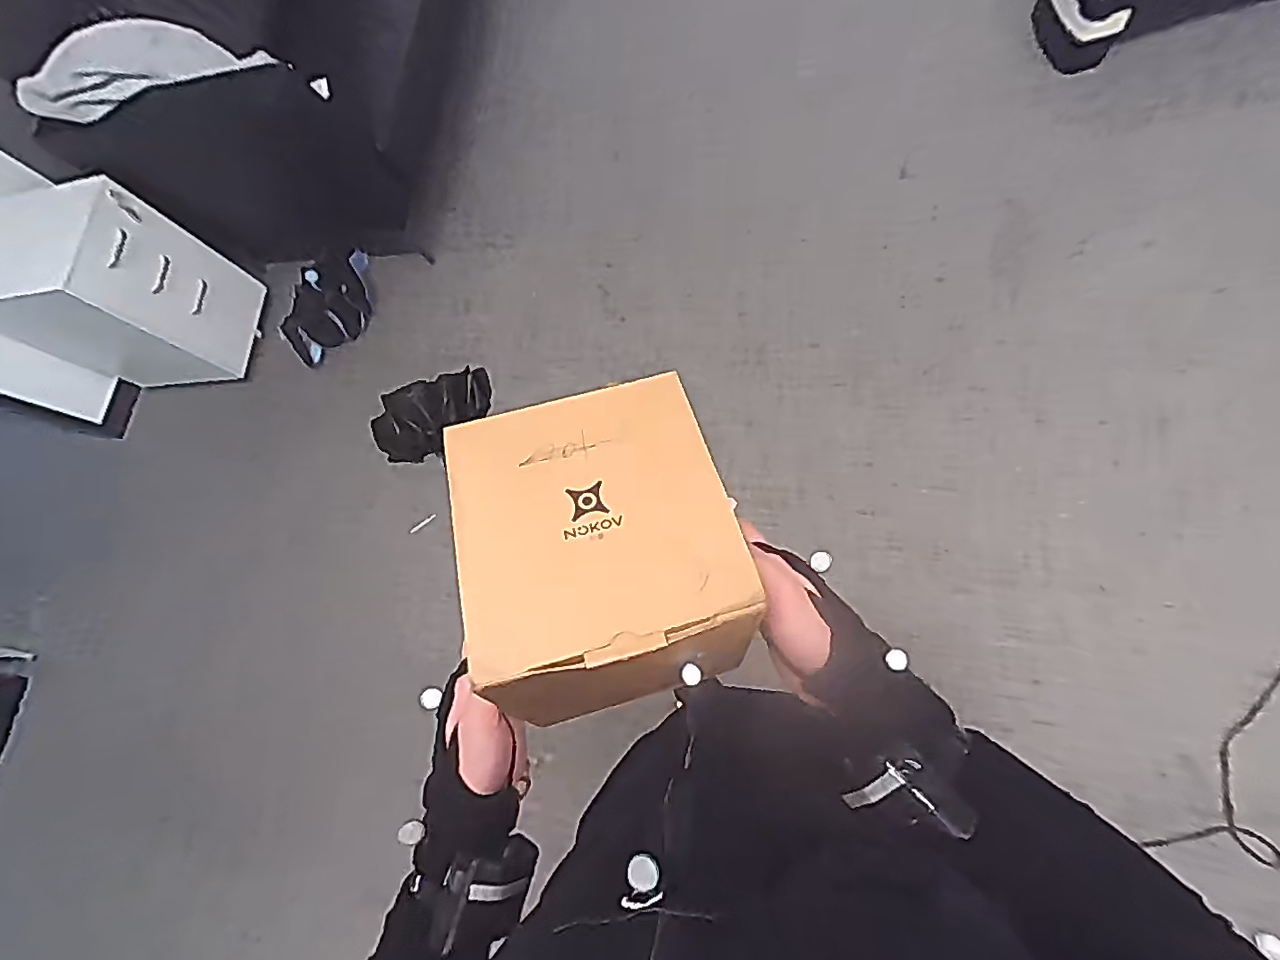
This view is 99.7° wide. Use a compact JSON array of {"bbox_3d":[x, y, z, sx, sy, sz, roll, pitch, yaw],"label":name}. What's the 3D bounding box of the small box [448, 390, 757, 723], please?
[{"bbox_3d":[-0.028,0.067,0.401,0.168,0.176,0.179,-14,58,-6],"label":"small box"}]
